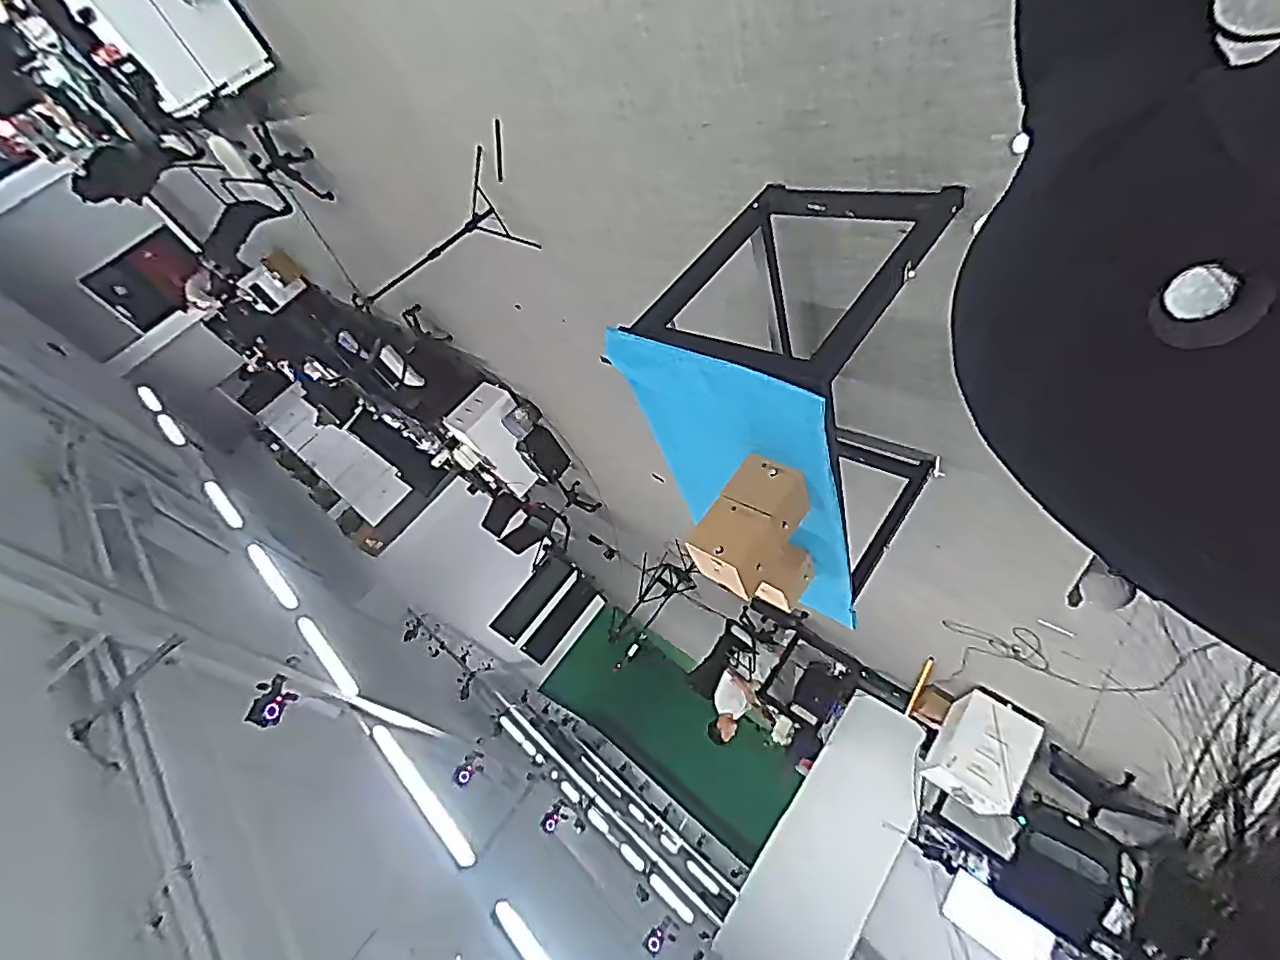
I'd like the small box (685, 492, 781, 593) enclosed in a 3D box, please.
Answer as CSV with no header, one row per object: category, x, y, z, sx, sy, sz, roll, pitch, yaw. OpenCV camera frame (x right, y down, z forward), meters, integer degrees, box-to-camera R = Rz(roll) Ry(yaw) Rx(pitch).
small box,0.256,0.165,1.445,0.168,0.176,0.179,24,155,41

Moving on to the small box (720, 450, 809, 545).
small box,0.353,0.049,1.505,0.168,0.176,0.179,25,157,37

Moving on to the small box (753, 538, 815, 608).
small box,0.478,0.302,1.856,0.179,0.176,0.168,25,158,34
